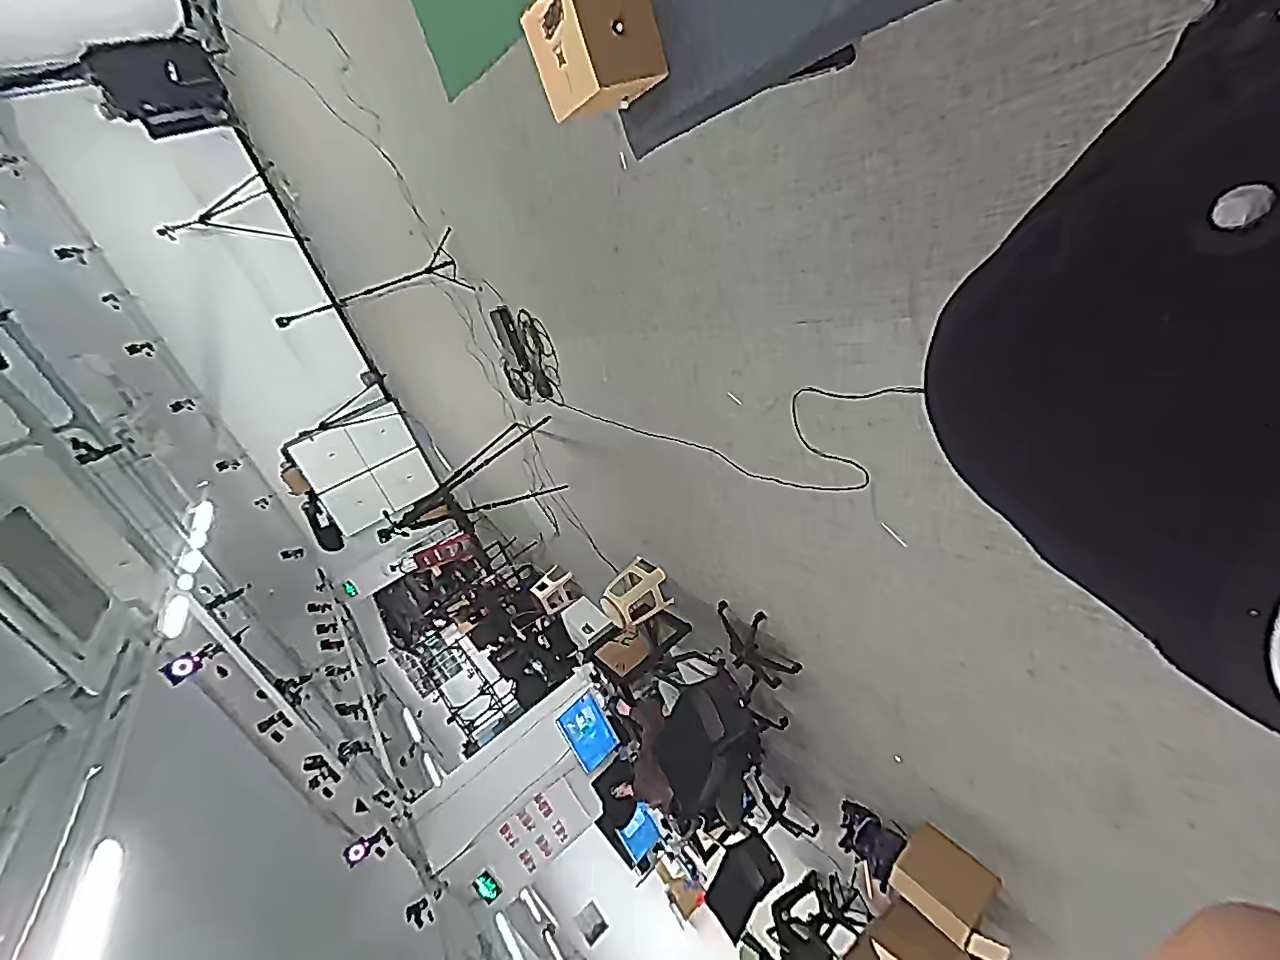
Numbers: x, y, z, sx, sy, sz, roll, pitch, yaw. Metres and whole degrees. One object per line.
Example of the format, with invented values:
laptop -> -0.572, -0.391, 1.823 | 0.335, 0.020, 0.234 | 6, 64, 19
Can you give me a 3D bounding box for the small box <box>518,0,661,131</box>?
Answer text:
small box -> -0.089, -0.777, 0.989 | 0.168, 0.176, 0.179 | 15, 132, 53
